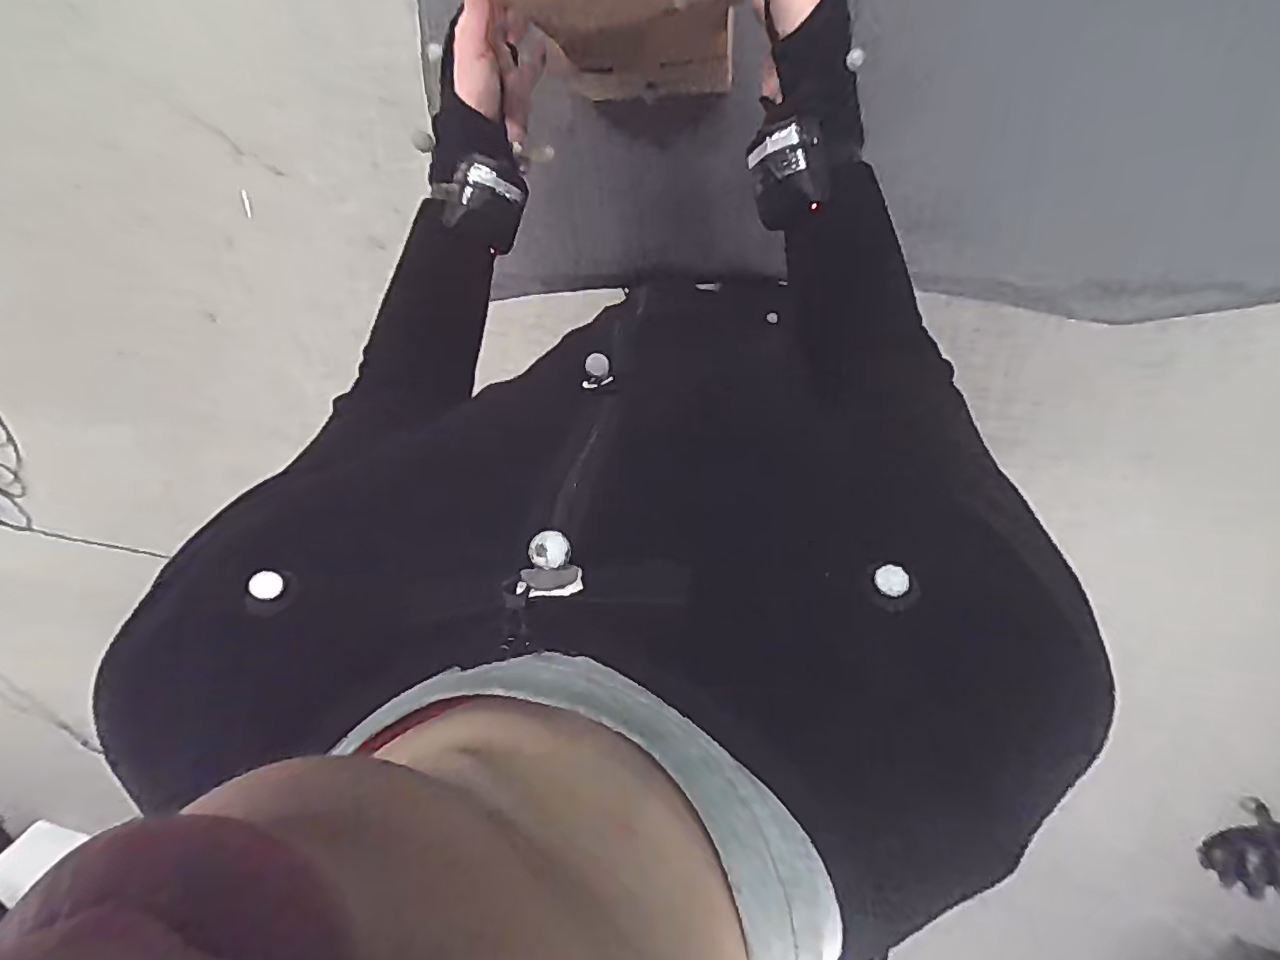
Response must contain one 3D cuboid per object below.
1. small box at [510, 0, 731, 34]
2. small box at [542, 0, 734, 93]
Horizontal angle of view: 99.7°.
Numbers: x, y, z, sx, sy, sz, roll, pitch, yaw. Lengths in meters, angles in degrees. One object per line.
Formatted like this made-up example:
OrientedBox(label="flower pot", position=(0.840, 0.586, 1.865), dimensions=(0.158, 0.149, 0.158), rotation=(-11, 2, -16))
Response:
OrientedBox(label="small box", position=(-0.018, -0.429, 0.357), dimensions=(0.168, 0.176, 0.179), rotation=(-3, 116, 11))
OrientedBox(label="small box", position=(0.005, -0.481, 0.512), dimensions=(0.168, 0.176, 0.179), rotation=(2, 119, 9))
